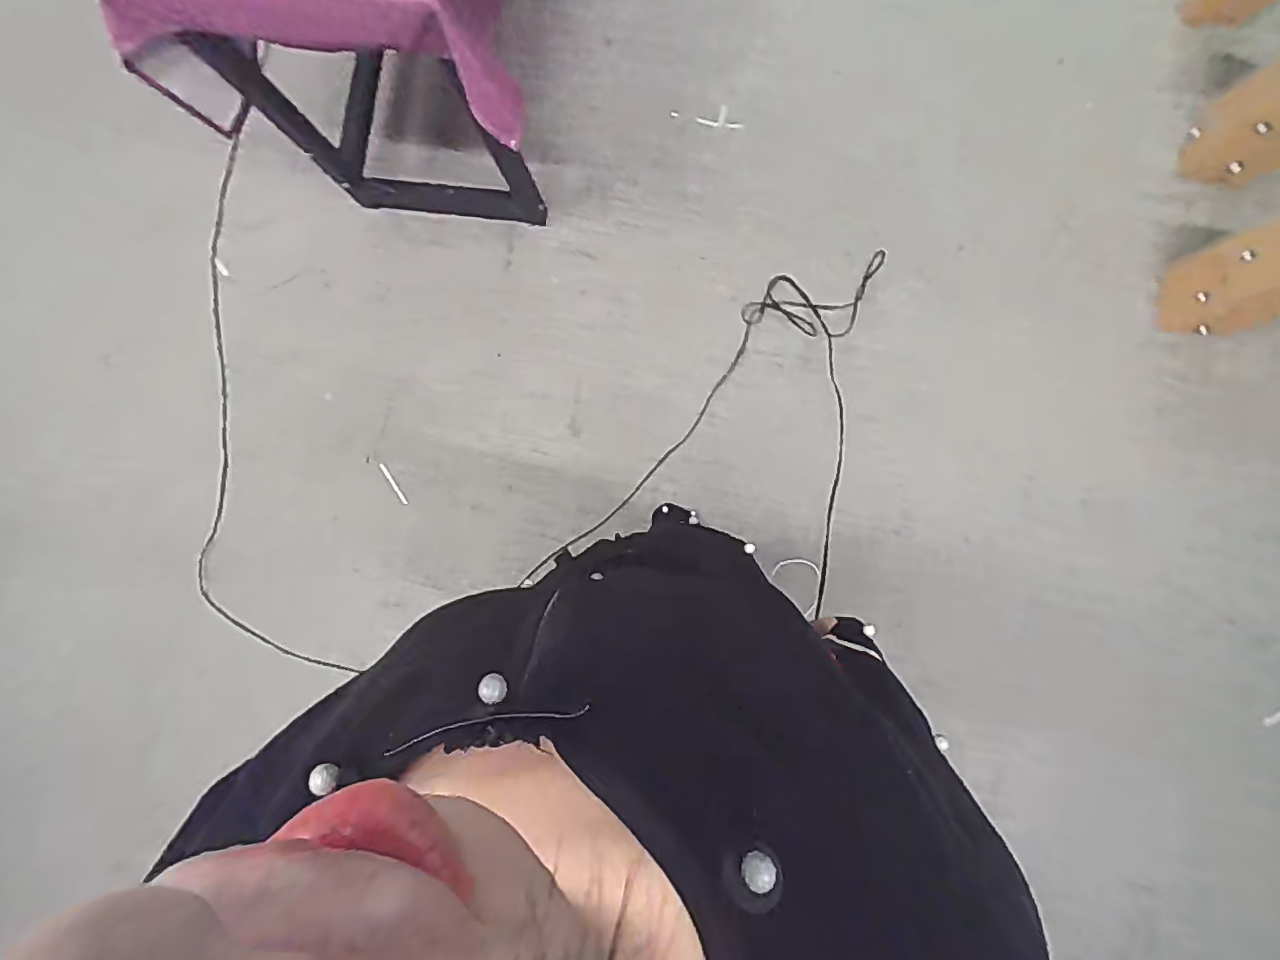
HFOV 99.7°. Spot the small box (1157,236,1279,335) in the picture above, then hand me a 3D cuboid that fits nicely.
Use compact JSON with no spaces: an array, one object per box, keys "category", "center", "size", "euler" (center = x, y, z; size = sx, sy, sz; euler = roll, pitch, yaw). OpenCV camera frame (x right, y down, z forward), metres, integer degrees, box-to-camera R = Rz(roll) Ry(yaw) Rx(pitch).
[{"category":"small box","center":[1.448,-0.479,1.347],"size":[0.168,0.176,0.179],"euler":[6,88,5]}]

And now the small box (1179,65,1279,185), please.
[{"category":"small box","center":[1.530,-0.884,1.360],"size":[0.168,0.176,0.179],"euler":[19,89,5]}]

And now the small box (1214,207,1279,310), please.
[{"category":"small box","center":[1.429,-0.484,1.183],"size":[0.179,0.176,0.168],"euler":[7,89,5]}]
